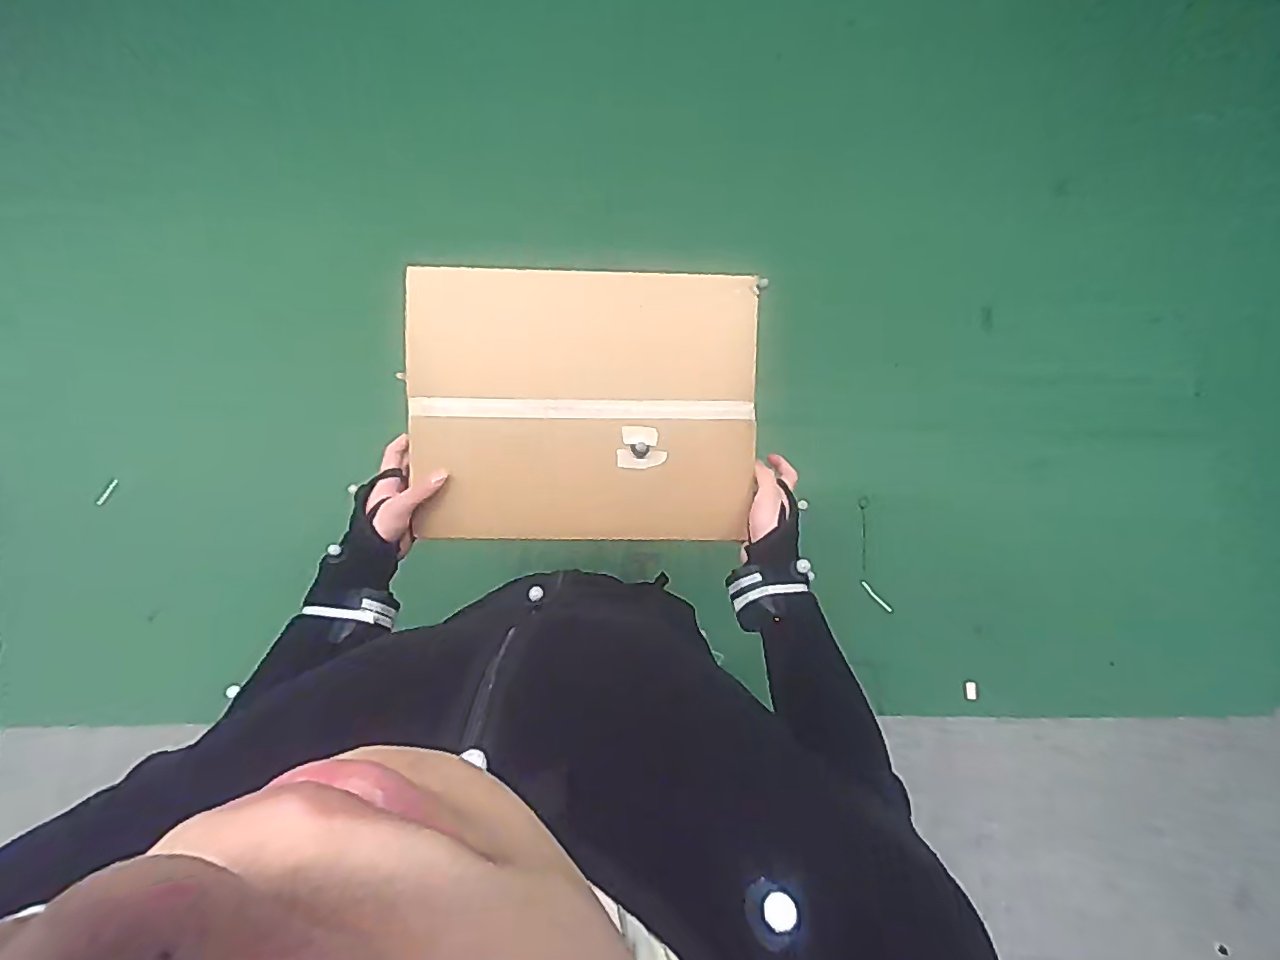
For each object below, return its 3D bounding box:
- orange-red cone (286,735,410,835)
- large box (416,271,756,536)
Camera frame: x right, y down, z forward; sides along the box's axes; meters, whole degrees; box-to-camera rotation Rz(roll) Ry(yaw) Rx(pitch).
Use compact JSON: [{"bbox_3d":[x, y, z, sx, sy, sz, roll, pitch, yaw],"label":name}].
[{"bbox_3d":[-0.766,0.802,1.365,0.199,0.360,0.198,7,78,2],"label":"orange-red cone"},{"bbox_3d":[-0.070,-0.099,0.791,0.408,0.320,0.320,0,95,-3],"label":"large box"}]
